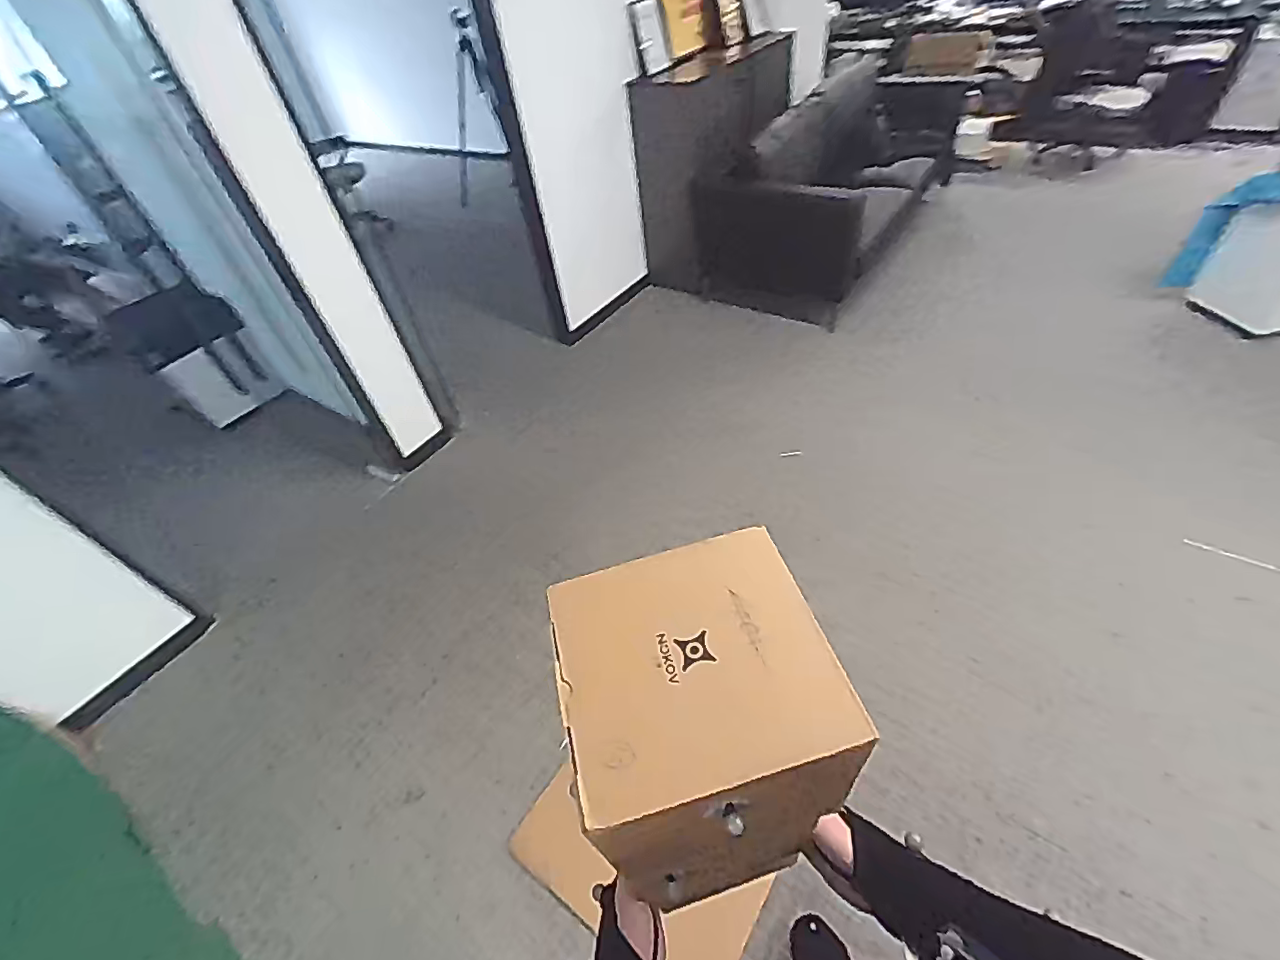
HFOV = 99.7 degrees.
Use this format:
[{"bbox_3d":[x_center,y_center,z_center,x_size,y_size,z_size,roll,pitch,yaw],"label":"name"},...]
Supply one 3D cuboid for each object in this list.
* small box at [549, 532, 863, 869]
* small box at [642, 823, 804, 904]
[{"bbox_3d":[0.042,0.172,0.416,0.179,0.176,0.168,-15,46,-3],"label":"small box"},{"bbox_3d":[0.080,0.386,0.661,0.179,0.176,0.168,-16,45,-5],"label":"small box"}]
